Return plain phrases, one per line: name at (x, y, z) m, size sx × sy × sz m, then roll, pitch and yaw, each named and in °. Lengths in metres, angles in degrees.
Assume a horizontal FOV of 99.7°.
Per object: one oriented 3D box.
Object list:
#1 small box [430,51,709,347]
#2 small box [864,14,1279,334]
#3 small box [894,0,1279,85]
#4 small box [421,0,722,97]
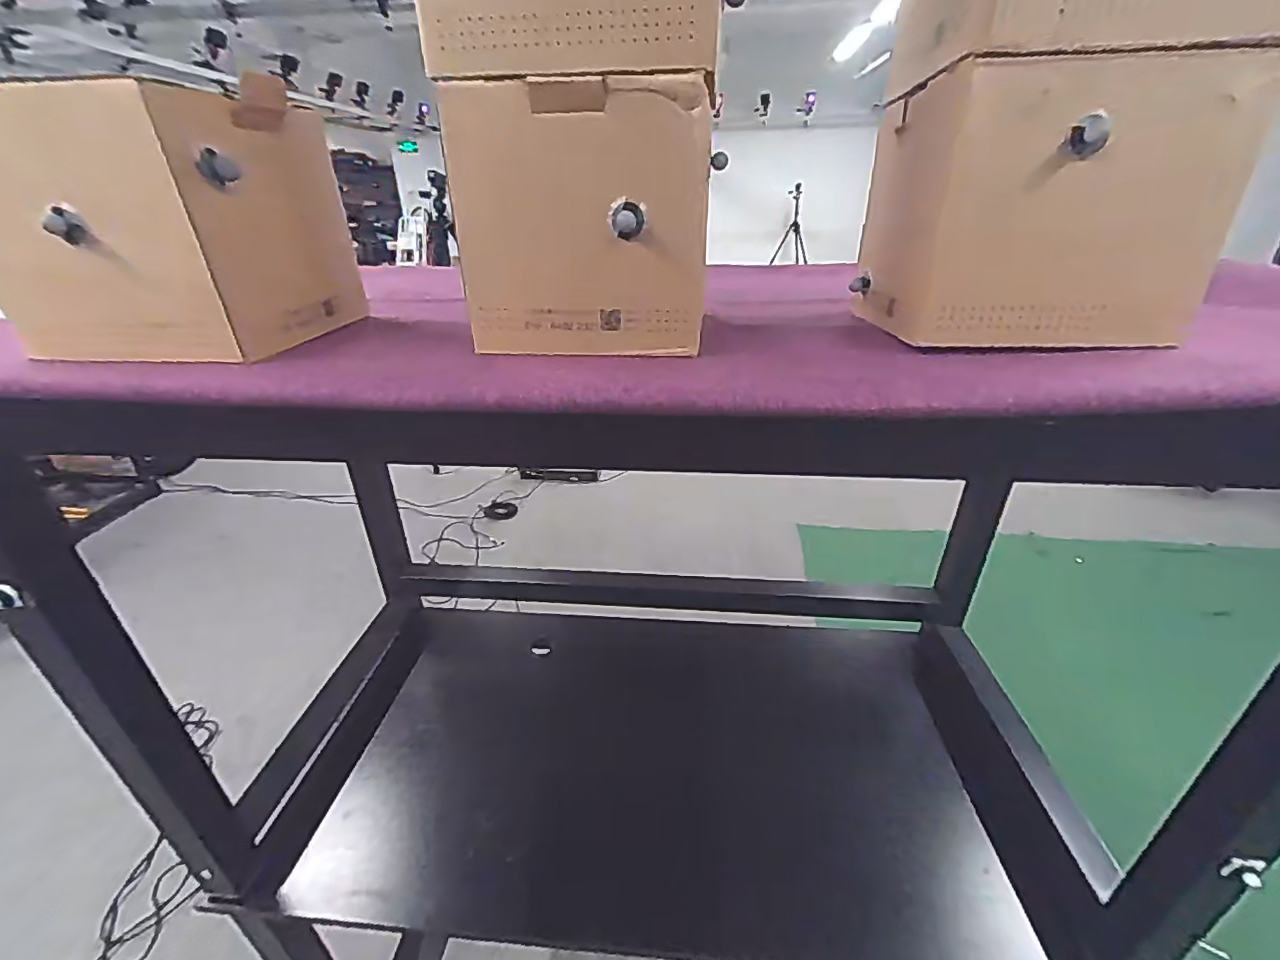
small box at (-0.033, -0.205, 0.419) m, size 0.168 × 0.176 × 0.179 m, roll 3°, pitch 27°, yaw 6°
small box at (0.279, -0.204, 0.400) m, size 0.179 × 0.176 × 0.168 m, roll 1°, pitch 25°, yaw 4°
small box at (0.275, -0.353, 0.334) m, size 0.179 × 0.176 × 0.168 m, roll 1°, pitch 26°, yaw 5°
small box at (-0.035, -0.351, 0.343) m, size 0.179 × 0.176 × 0.168 m, roll 3°, pitch 29°, yaw 6°
